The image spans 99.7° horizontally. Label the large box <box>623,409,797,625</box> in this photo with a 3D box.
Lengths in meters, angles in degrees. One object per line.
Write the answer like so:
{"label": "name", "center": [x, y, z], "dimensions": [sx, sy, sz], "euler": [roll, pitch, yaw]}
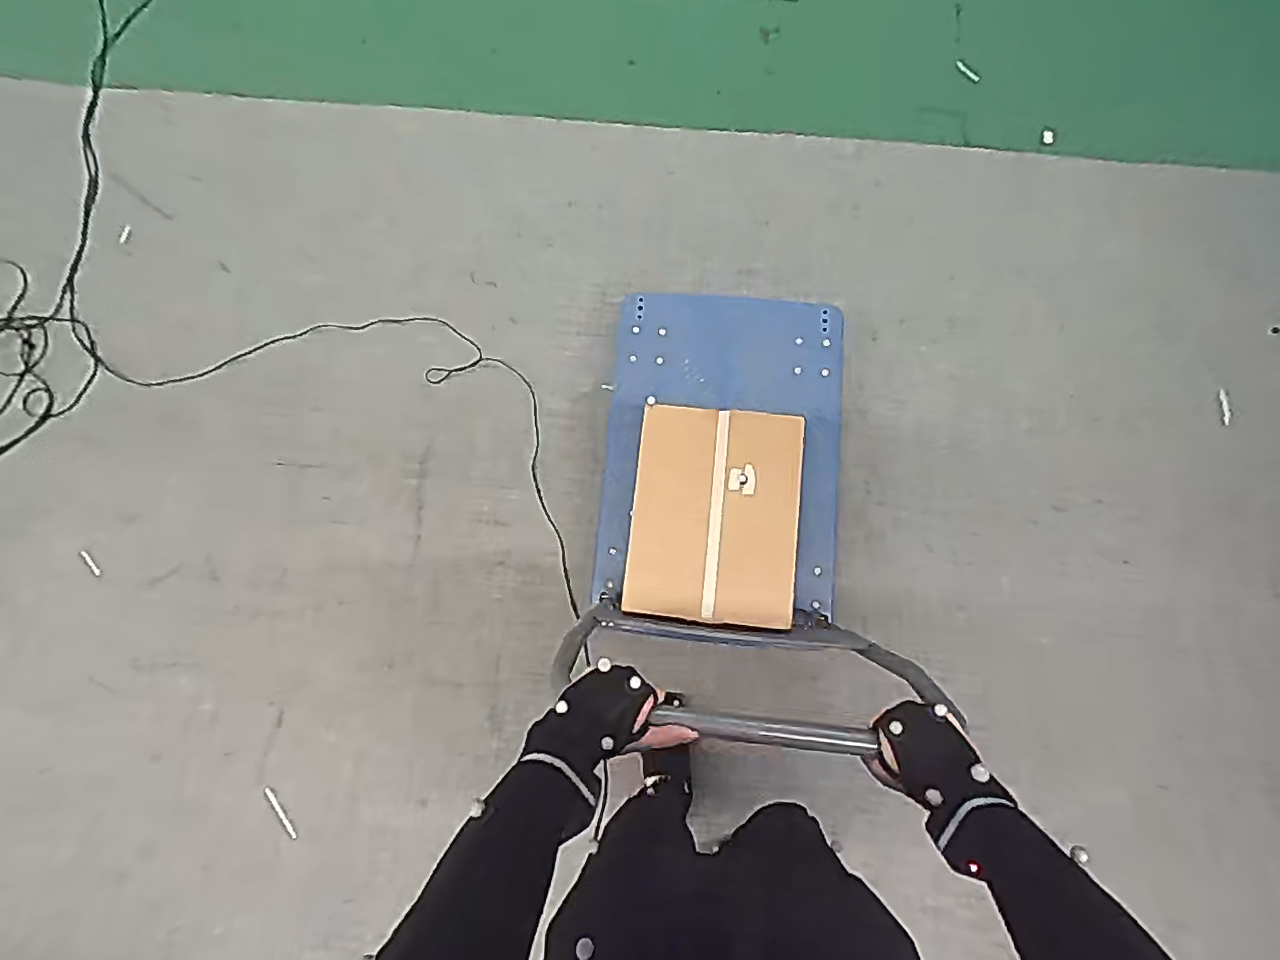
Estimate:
{"label": "large box", "center": [0.147, 0.094, 1.179], "dimensions": [0.320, 0.320, 0.408], "euler": [6, 78, 3]}
